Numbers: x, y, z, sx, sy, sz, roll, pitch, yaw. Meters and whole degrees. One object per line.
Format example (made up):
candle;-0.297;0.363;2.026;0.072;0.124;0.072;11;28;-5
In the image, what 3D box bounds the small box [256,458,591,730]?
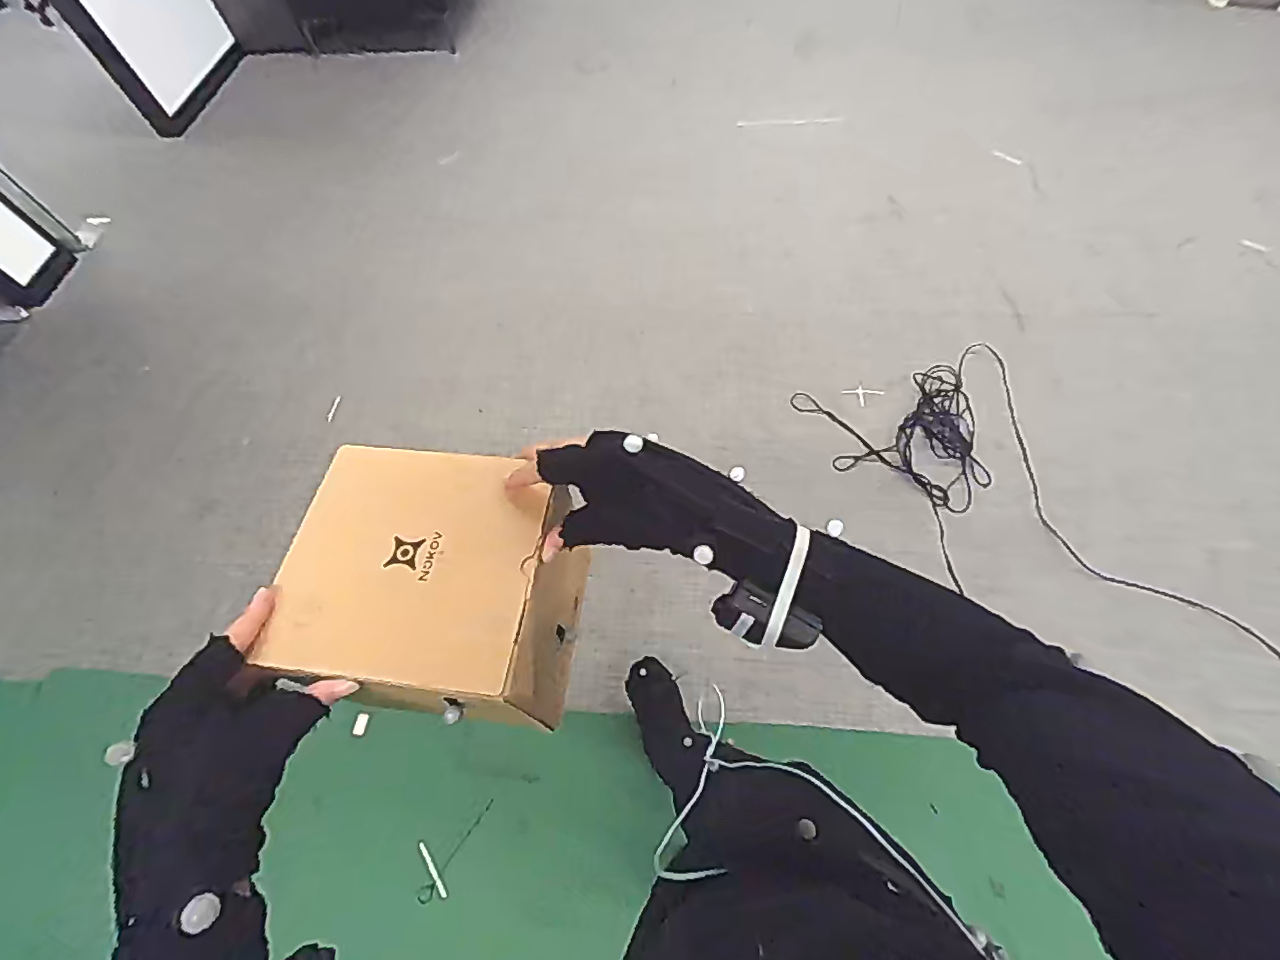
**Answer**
small box;-0.149;0.100;0.447;0.179;0.176;0.168;5;59;6
